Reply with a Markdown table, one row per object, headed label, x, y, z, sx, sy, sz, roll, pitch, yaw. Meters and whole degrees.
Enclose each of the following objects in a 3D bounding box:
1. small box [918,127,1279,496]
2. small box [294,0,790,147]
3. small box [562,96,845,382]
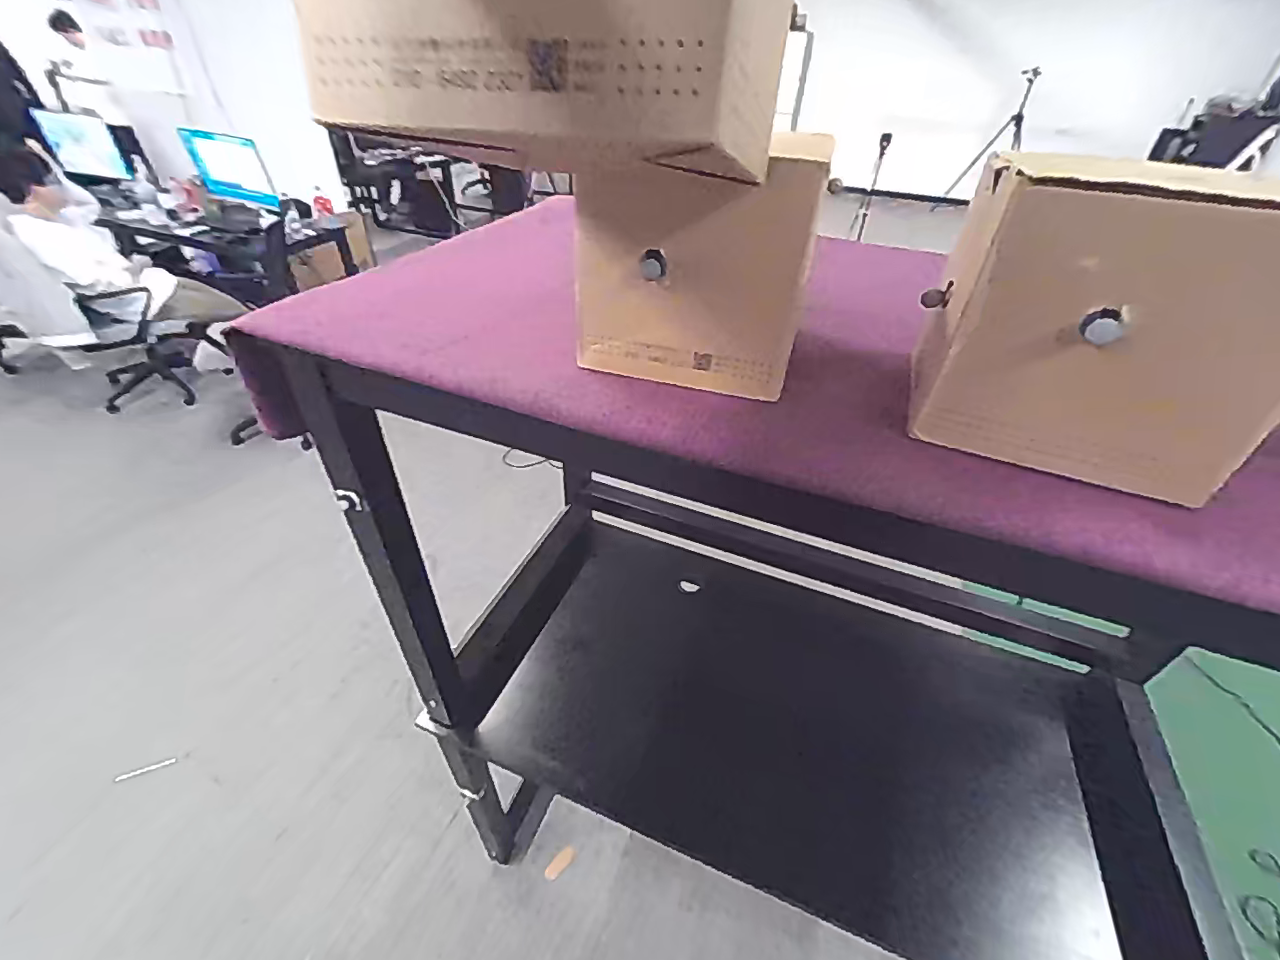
| label | x | y | z | sx | sy | sz | roll | pitch | yaw |
| --- | --- | --- | --- | --- | --- | --- | --- | --- | --- |
| small box | 0.299 | -0.114 | 0.347 | 0.179 | 0.176 | 0.168 | 18 | 42 | 17 |
| small box | -0.024 | -0.240 | 0.212 | 0.168 | 0.176 | 0.179 | 14 | 27 | 14 |
| small box | 0.052 | -0.196 | 0.425 | 0.168 | 0.176 | 0.179 | 14 | 40 | 12 |
